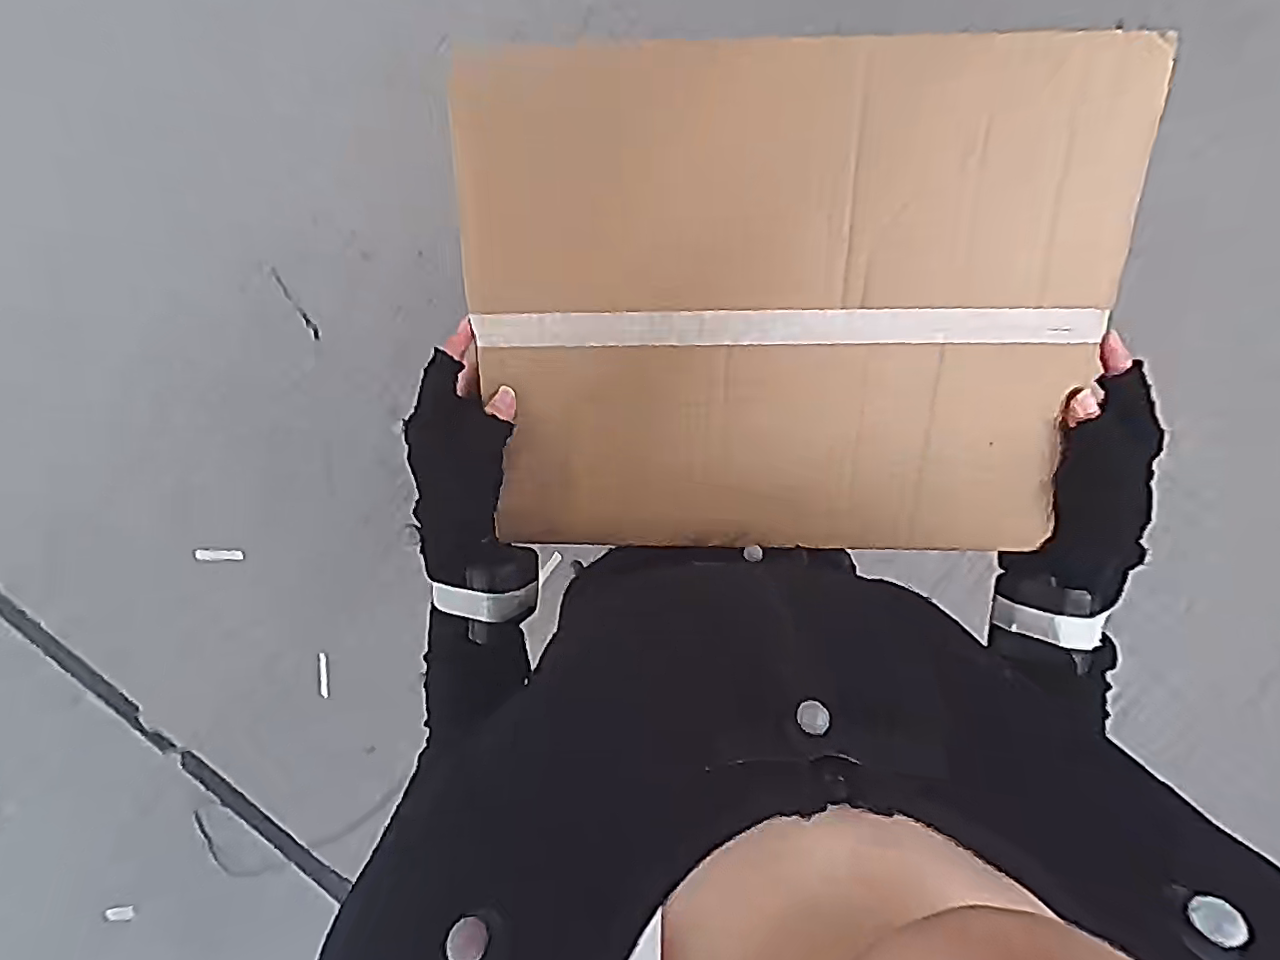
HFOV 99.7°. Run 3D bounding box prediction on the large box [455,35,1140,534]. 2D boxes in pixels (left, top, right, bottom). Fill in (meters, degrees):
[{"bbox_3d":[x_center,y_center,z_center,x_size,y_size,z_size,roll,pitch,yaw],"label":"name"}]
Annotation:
[{"bbox_3d":[0.093,-0.153,0.501,0.408,0.320,0.320,0,110,2],"label":"large box"}]
